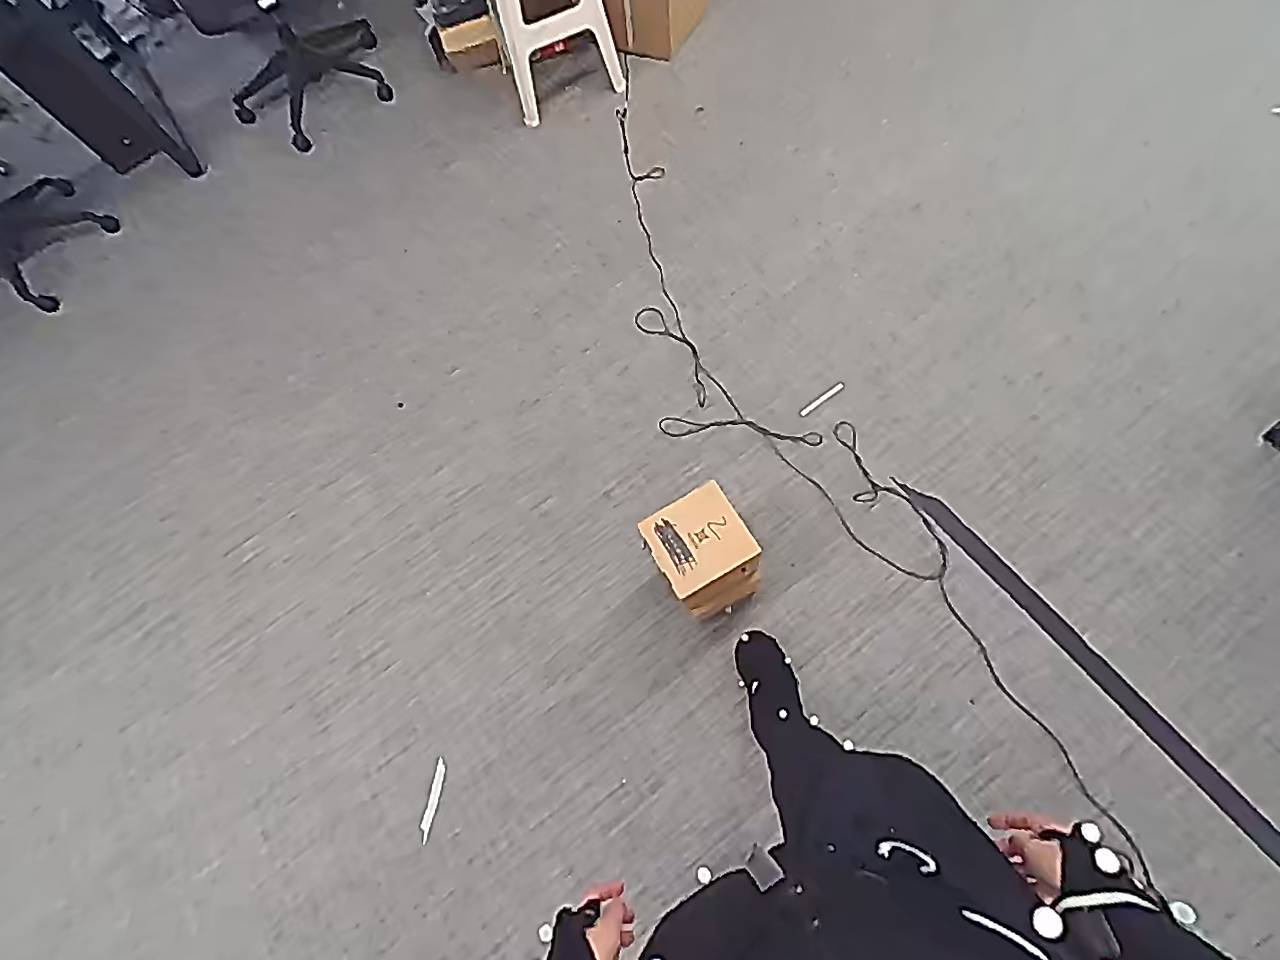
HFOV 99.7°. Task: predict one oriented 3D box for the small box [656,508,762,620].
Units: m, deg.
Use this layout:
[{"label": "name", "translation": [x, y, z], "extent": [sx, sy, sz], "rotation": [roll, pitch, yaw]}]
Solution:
[{"label": "small box", "translation": [0.153, 0.195, 1.212], "extent": [0.168, 0.176, 0.179], "rotation": [-30, 69, -3]}]
